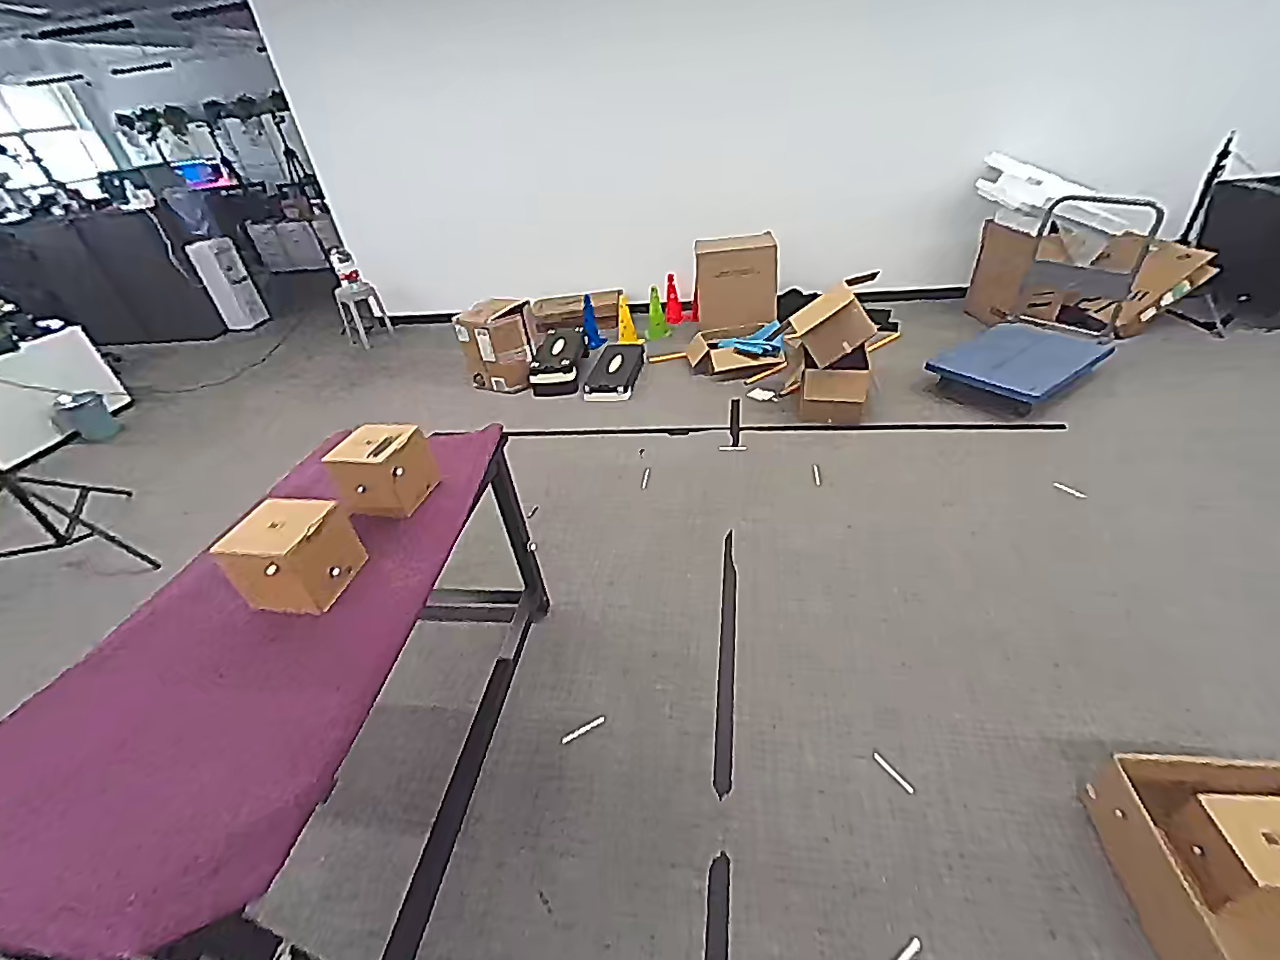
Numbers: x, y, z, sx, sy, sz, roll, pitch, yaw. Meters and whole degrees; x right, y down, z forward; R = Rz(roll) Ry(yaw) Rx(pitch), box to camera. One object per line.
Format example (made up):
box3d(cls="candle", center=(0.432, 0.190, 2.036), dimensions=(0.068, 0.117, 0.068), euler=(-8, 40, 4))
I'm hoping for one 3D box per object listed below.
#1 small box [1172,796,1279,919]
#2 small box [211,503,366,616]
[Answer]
box3d(cls="small box", center=(1.264, 0.779, 1.114), dimensions=(0.179, 0.176, 0.168), euler=(-2, 37, 7))
box3d(cls="small box", center=(-0.716, 0.164, 1.123), dimensions=(0.179, 0.176, 0.168), euler=(1, 36, 10))
